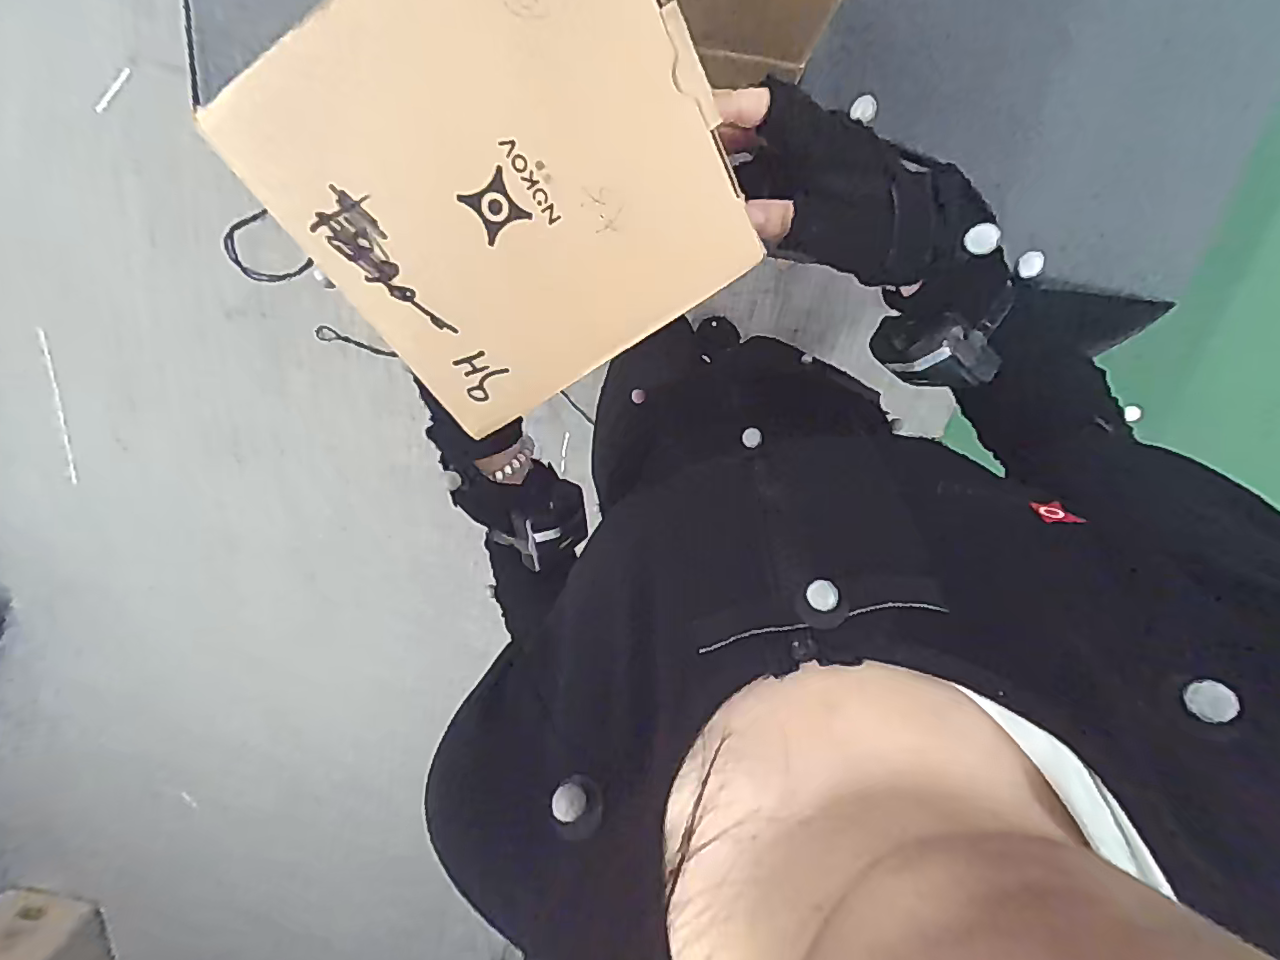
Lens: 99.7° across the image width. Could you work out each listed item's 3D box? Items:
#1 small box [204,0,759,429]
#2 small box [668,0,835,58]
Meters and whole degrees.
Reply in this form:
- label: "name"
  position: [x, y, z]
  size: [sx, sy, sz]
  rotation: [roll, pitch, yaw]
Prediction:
- label: "small box"
  position: [-0.066, -0.165, 0.299]
  size: [0.179, 0.176, 0.168]
  rotation: [-29, 120, 8]
- label: "small box"
  position: [0.065, -0.420, 0.364]
  size: [0.179, 0.176, 0.168]
  rotation: [10, 109, 1]
